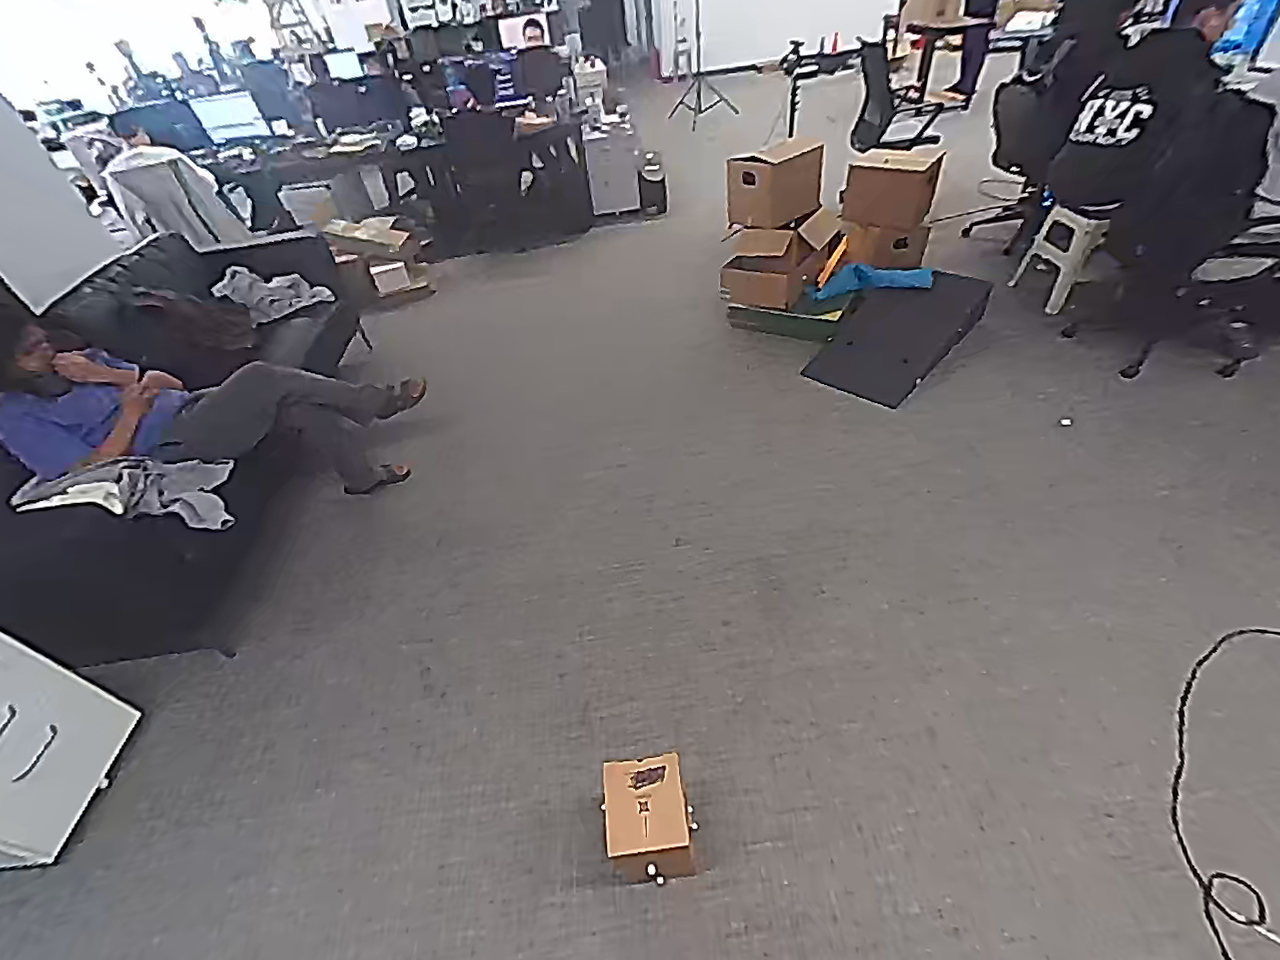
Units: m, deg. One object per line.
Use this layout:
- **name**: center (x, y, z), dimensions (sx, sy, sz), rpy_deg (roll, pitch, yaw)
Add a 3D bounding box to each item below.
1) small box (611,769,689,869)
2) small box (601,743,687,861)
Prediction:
- **small box**: center (0.024, 0.820, 1.307), dimensions (0.179, 0.176, 0.168), rpy_deg (-7, 44, 1)
- **small box**: center (0.008, 0.707, 1.187), dimensions (0.168, 0.176, 0.179), rpy_deg (-8, 45, 1)
